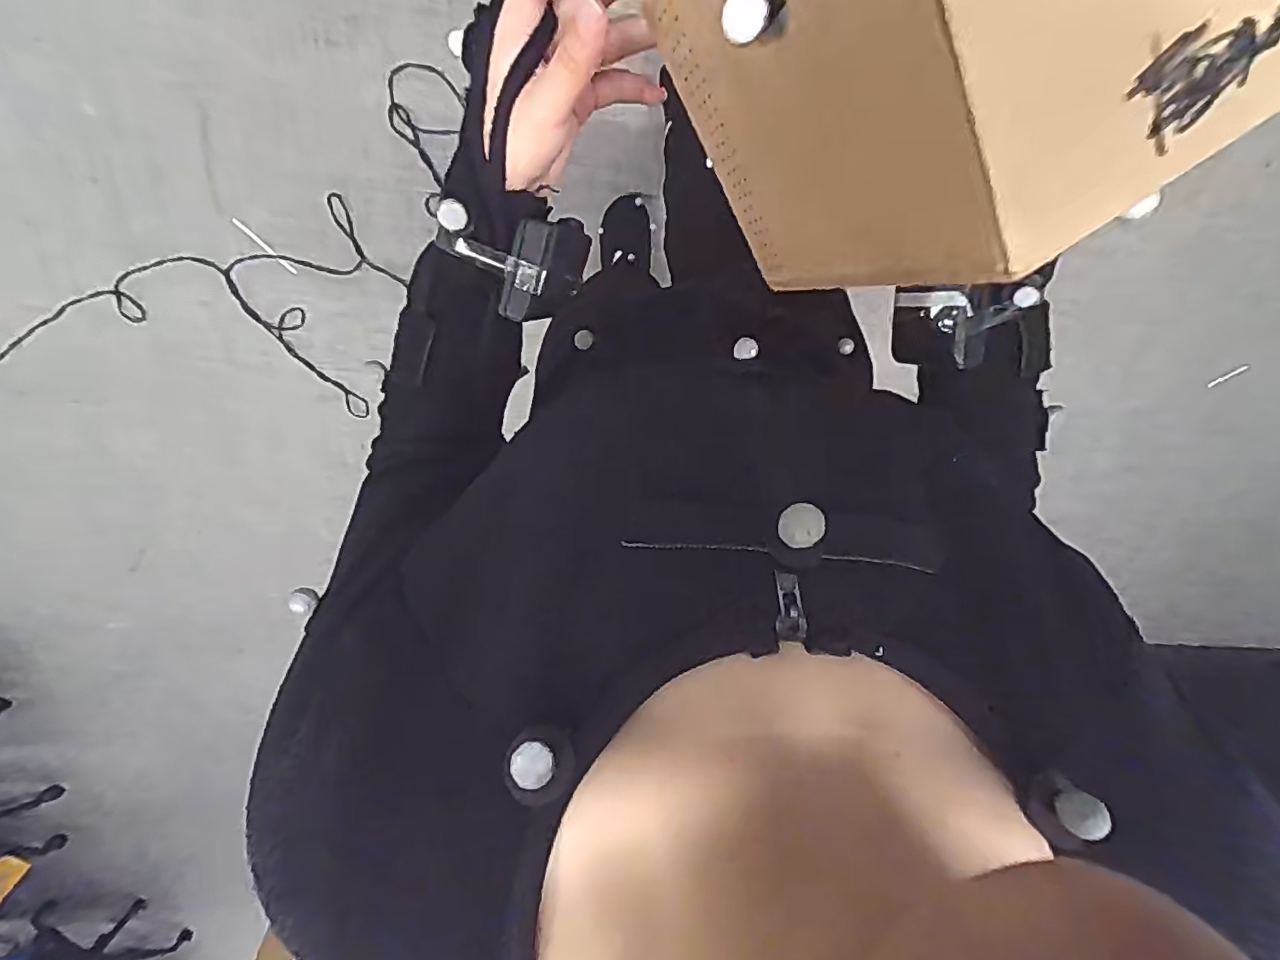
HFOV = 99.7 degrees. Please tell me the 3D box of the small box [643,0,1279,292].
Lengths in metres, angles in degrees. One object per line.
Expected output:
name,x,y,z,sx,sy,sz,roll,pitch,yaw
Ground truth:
small box,0.118,-0.191,0.208,0.168,0.176,0.179,-34,109,2
